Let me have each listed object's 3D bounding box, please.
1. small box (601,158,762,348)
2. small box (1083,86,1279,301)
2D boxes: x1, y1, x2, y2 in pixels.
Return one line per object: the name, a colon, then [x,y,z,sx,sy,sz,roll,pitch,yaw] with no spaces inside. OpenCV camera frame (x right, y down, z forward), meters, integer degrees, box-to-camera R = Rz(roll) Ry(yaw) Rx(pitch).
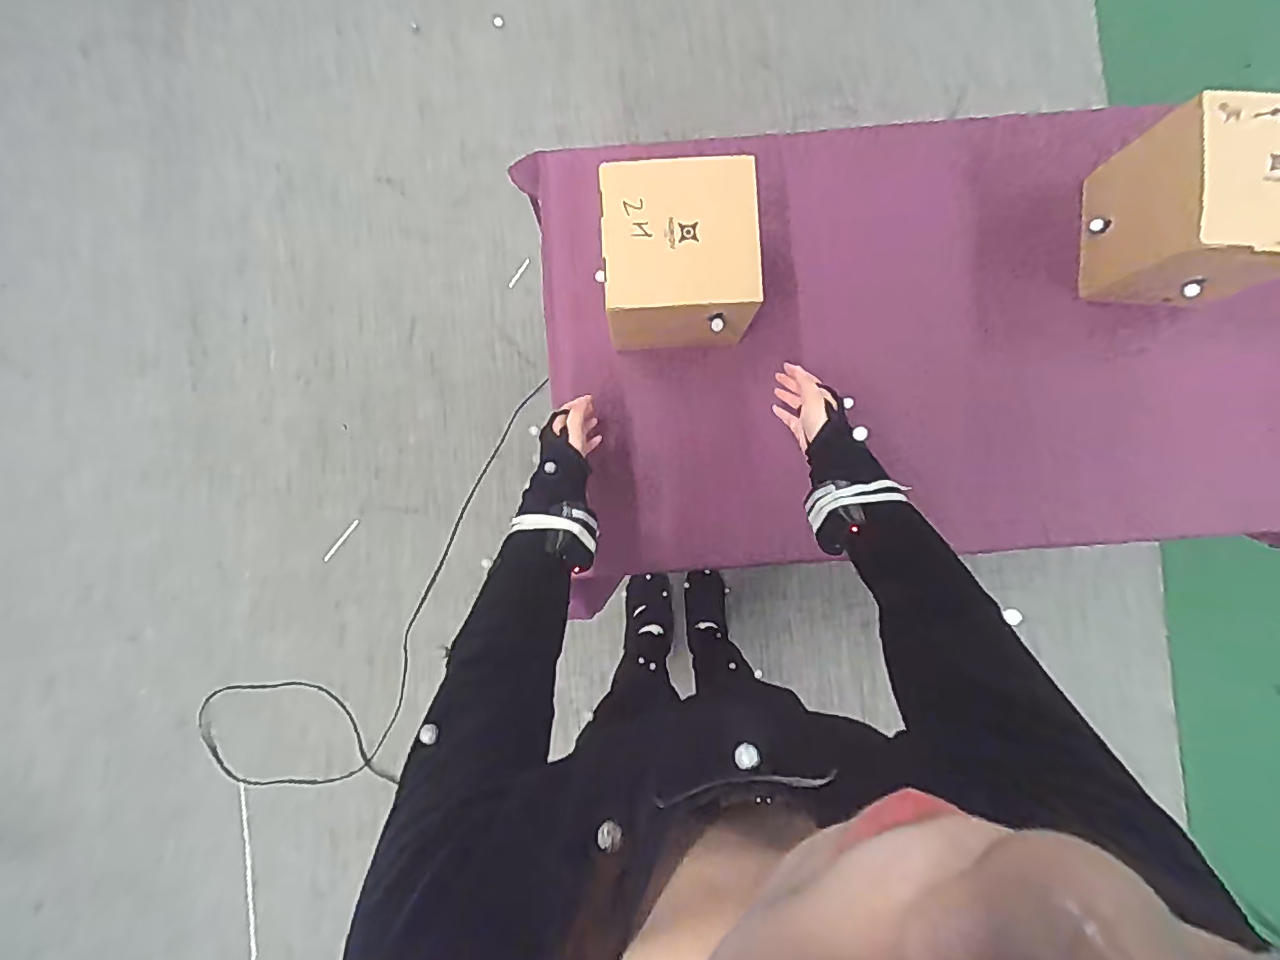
small box: [0.046,-0.269,0.675,0.179,0.176,0.168,-2,87,1]
small box: [0.687,-0.331,0.658,0.168,0.176,0.179,4,89,1]
